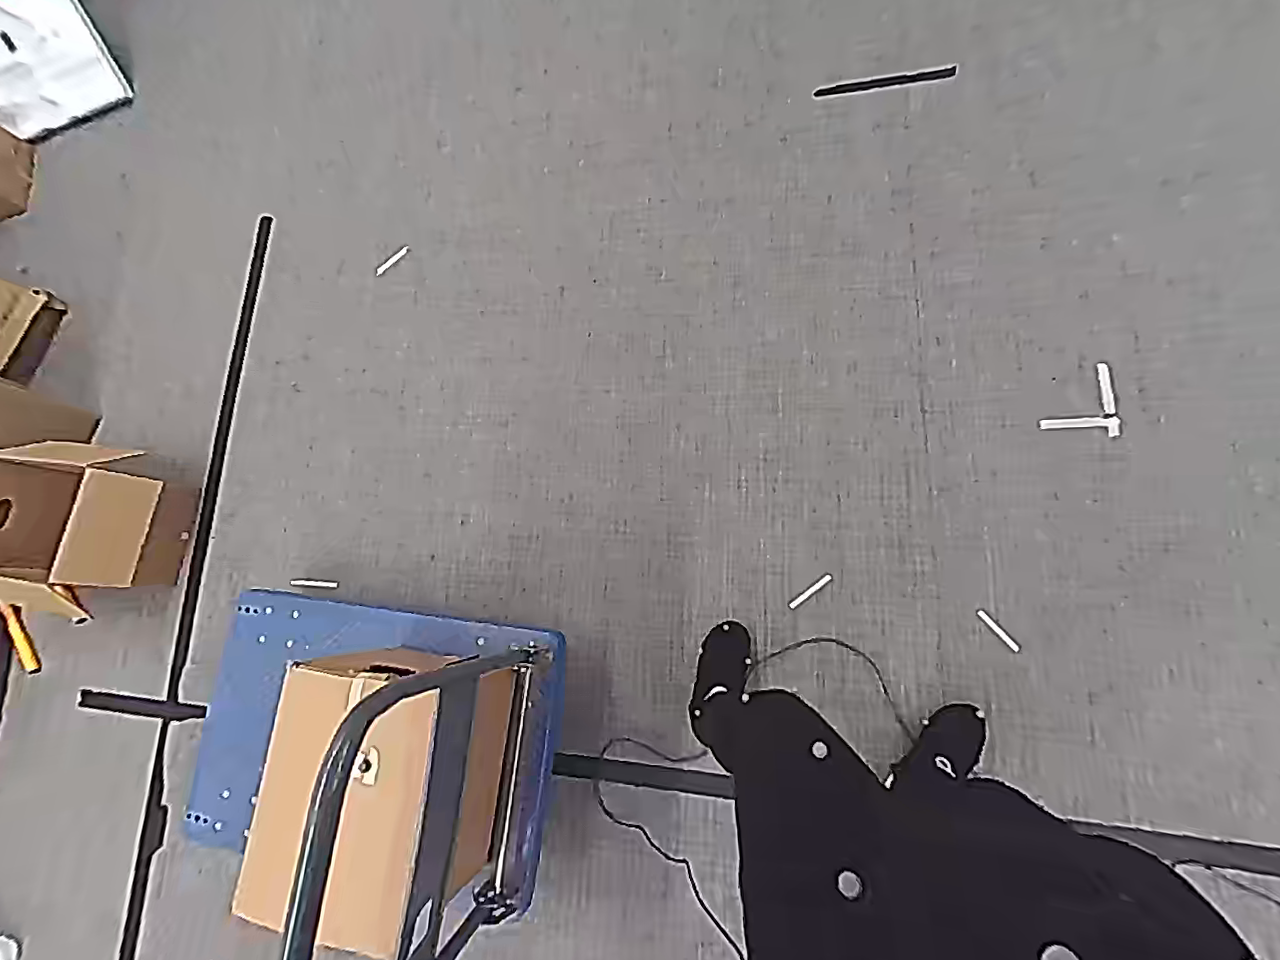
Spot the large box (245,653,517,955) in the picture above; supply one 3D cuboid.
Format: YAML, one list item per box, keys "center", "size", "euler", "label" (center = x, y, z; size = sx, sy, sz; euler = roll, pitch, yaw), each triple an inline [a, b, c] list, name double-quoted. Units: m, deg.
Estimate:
- center: [-0.466, 0.575, 1.054]
  size: [0.320, 0.320, 0.408]
  euler: [4, 78, 12]
  label: "large box"
